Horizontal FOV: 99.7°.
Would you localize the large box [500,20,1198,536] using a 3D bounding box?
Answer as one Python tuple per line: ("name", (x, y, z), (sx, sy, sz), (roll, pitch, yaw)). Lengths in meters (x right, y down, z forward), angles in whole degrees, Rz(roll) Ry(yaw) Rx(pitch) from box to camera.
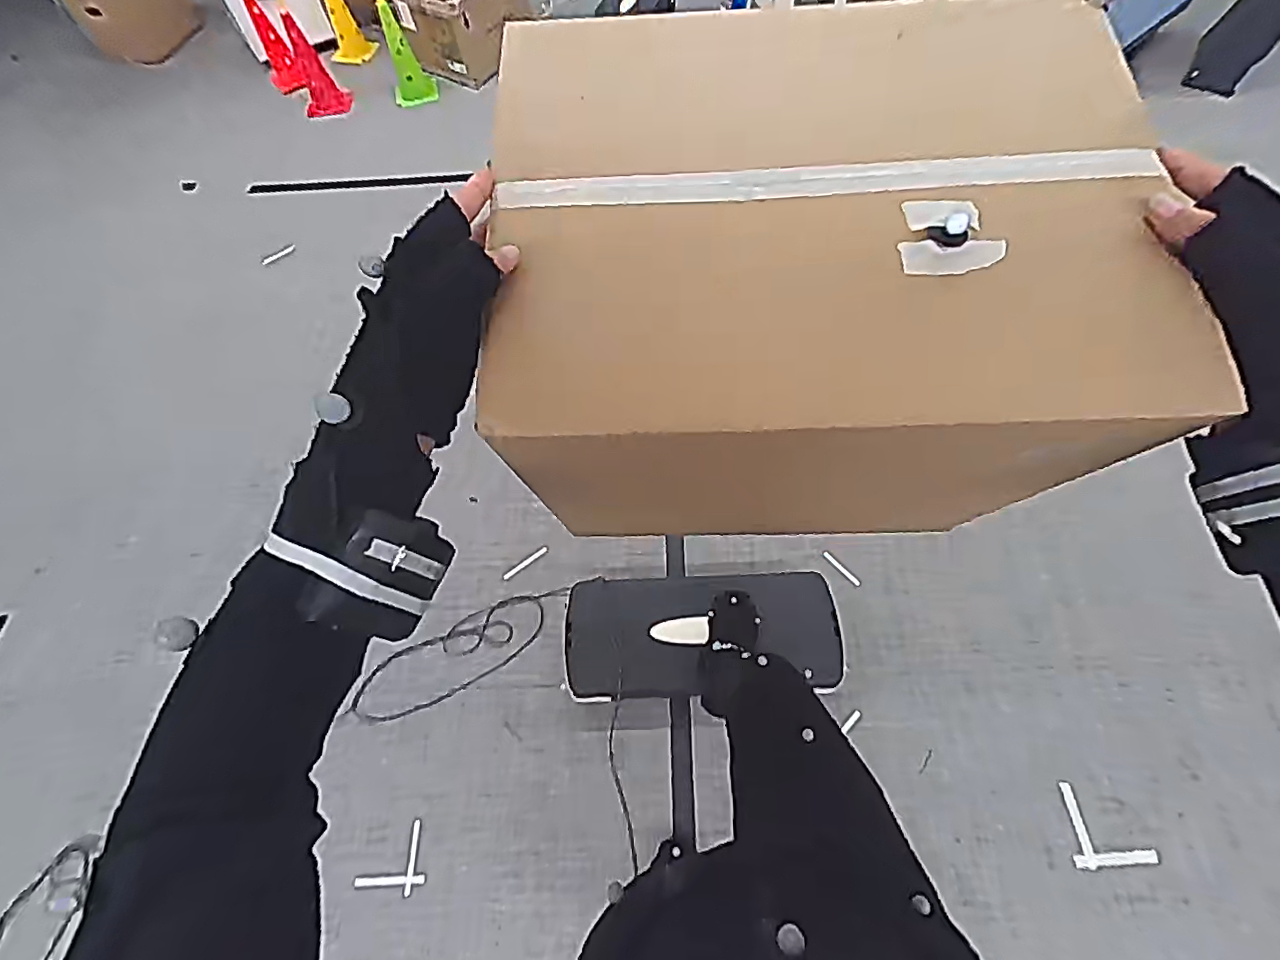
("large box", (0.114, -0.135, 0.491), (0.408, 0.320, 0.320), (-2, 74, 1))
